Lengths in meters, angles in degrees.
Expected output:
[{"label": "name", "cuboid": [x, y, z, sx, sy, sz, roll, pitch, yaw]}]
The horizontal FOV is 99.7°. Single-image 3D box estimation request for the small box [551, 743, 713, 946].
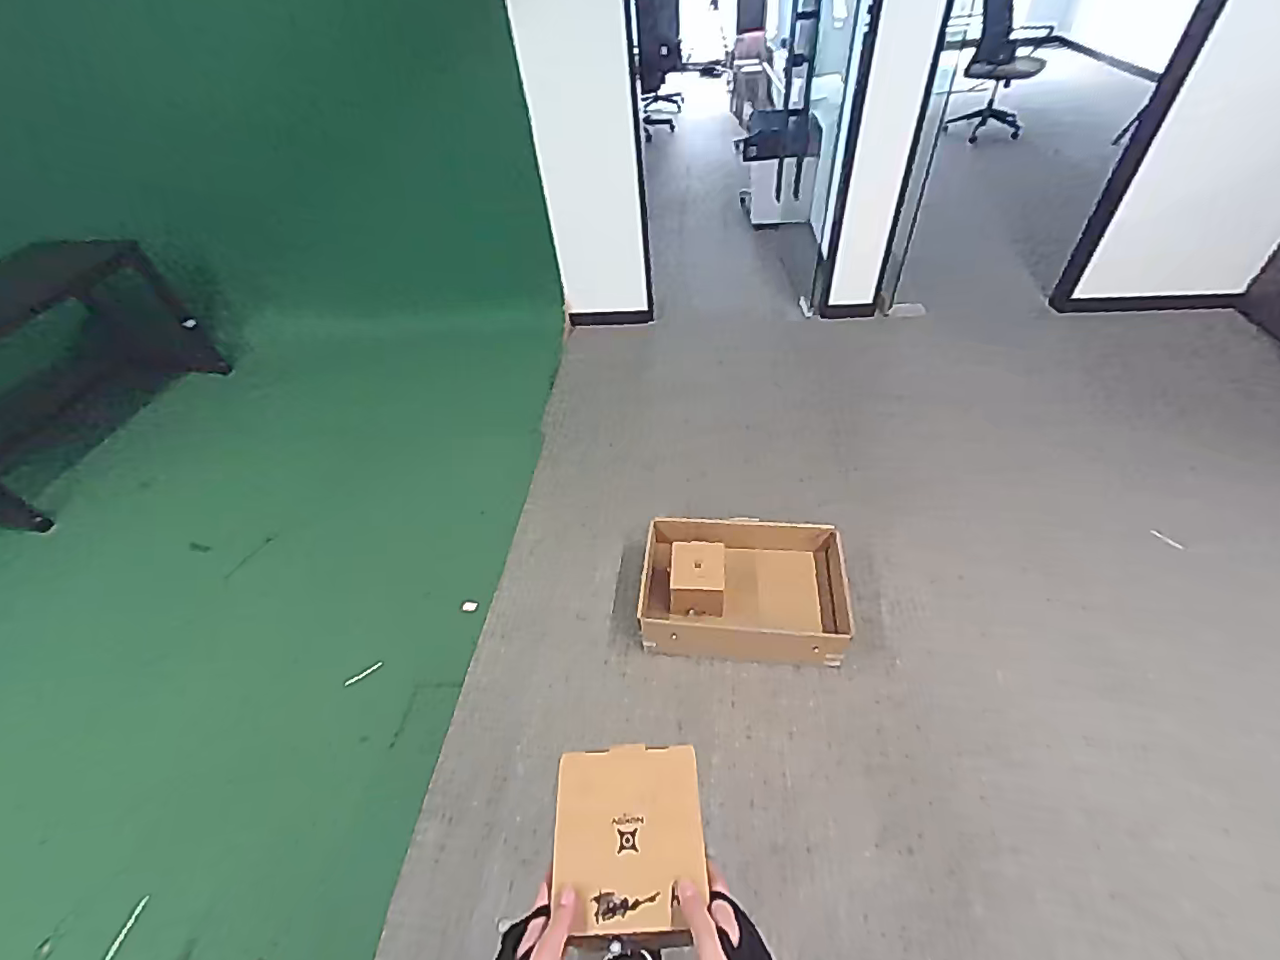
[{"label": "small box", "cuboid": [-0.005, 0.442, 0.656, 0.168, 0.176, 0.179, -4, 46, 2]}]
